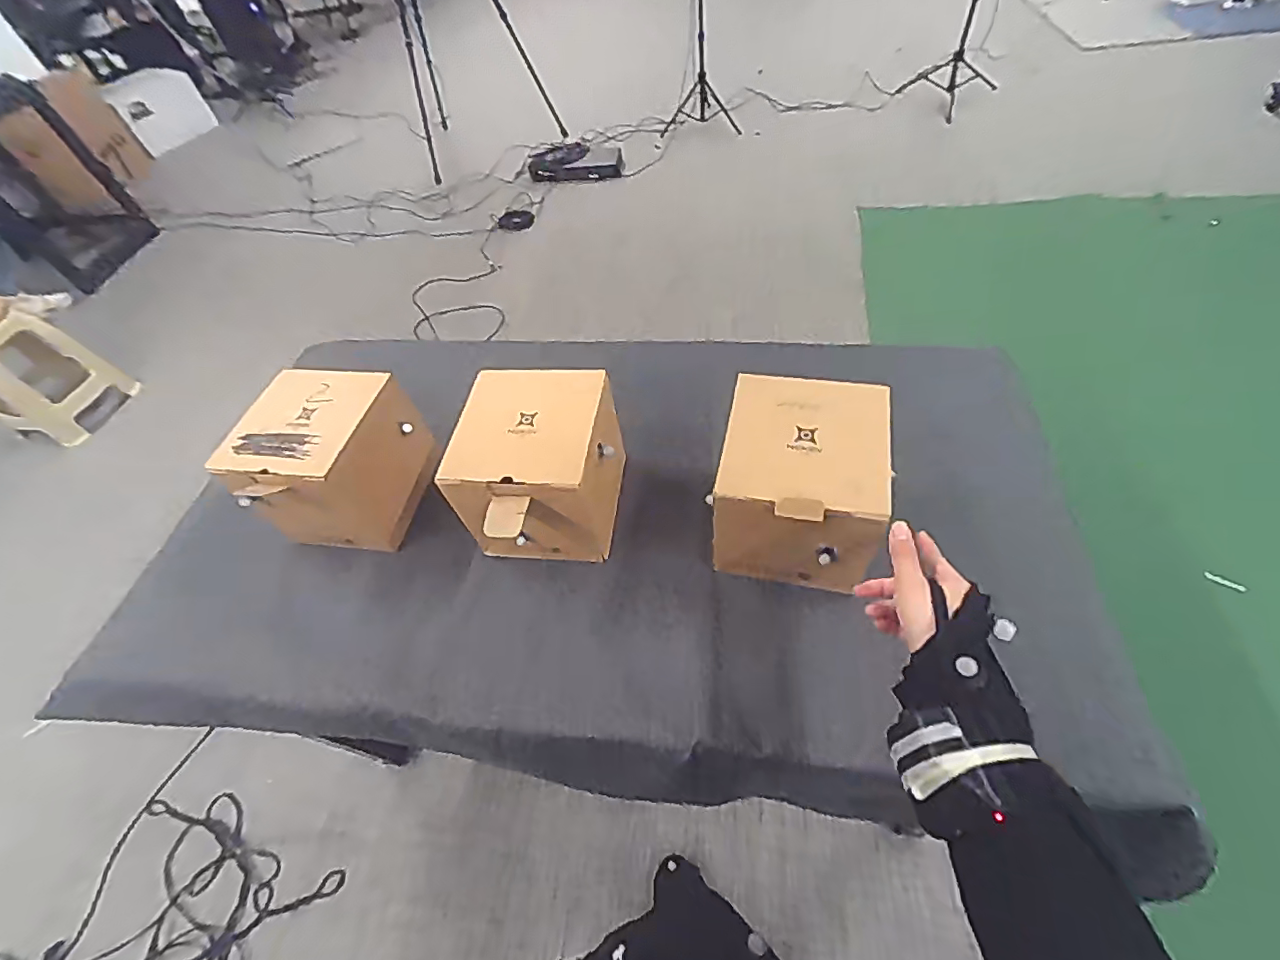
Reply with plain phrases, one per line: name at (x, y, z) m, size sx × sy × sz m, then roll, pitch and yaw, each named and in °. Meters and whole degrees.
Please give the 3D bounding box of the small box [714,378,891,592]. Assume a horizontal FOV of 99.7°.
small box at (0.181, 0.009, 0.622) m, size 0.168 × 0.176 × 0.179 m, roll 8°, pitch 54°, yaw 13°

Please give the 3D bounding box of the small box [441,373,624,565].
small box at (-0.118, -0.014, 0.683) m, size 0.168 × 0.176 × 0.179 m, roll 2°, pitch 55°, yaw 9°
